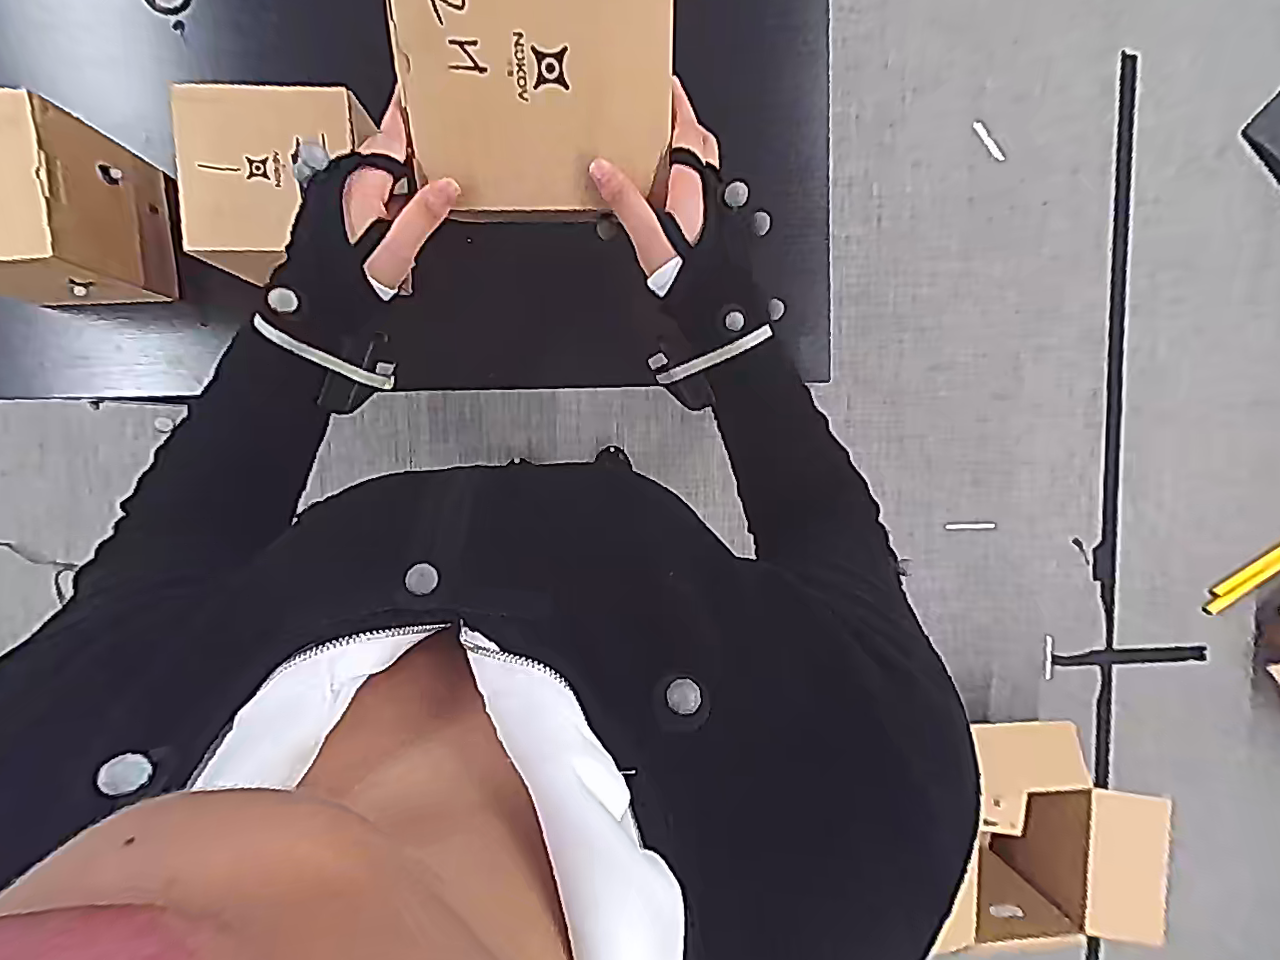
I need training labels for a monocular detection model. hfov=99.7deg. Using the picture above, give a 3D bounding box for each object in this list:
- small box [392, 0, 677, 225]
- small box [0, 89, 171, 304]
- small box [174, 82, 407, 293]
[{"bbox_3d":[-0.071,-0.293,0.420,0.179,0.176,0.168,-2,114,-4],"label":"small box"},{"bbox_3d":[-0.680,-0.305,0.612,0.179,0.176,0.168,-5,94,-4],"label":"small box"},{"bbox_3d":[-0.386,-0.325,0.634,0.179,0.176,0.168,-1,94,-4],"label":"small box"}]
